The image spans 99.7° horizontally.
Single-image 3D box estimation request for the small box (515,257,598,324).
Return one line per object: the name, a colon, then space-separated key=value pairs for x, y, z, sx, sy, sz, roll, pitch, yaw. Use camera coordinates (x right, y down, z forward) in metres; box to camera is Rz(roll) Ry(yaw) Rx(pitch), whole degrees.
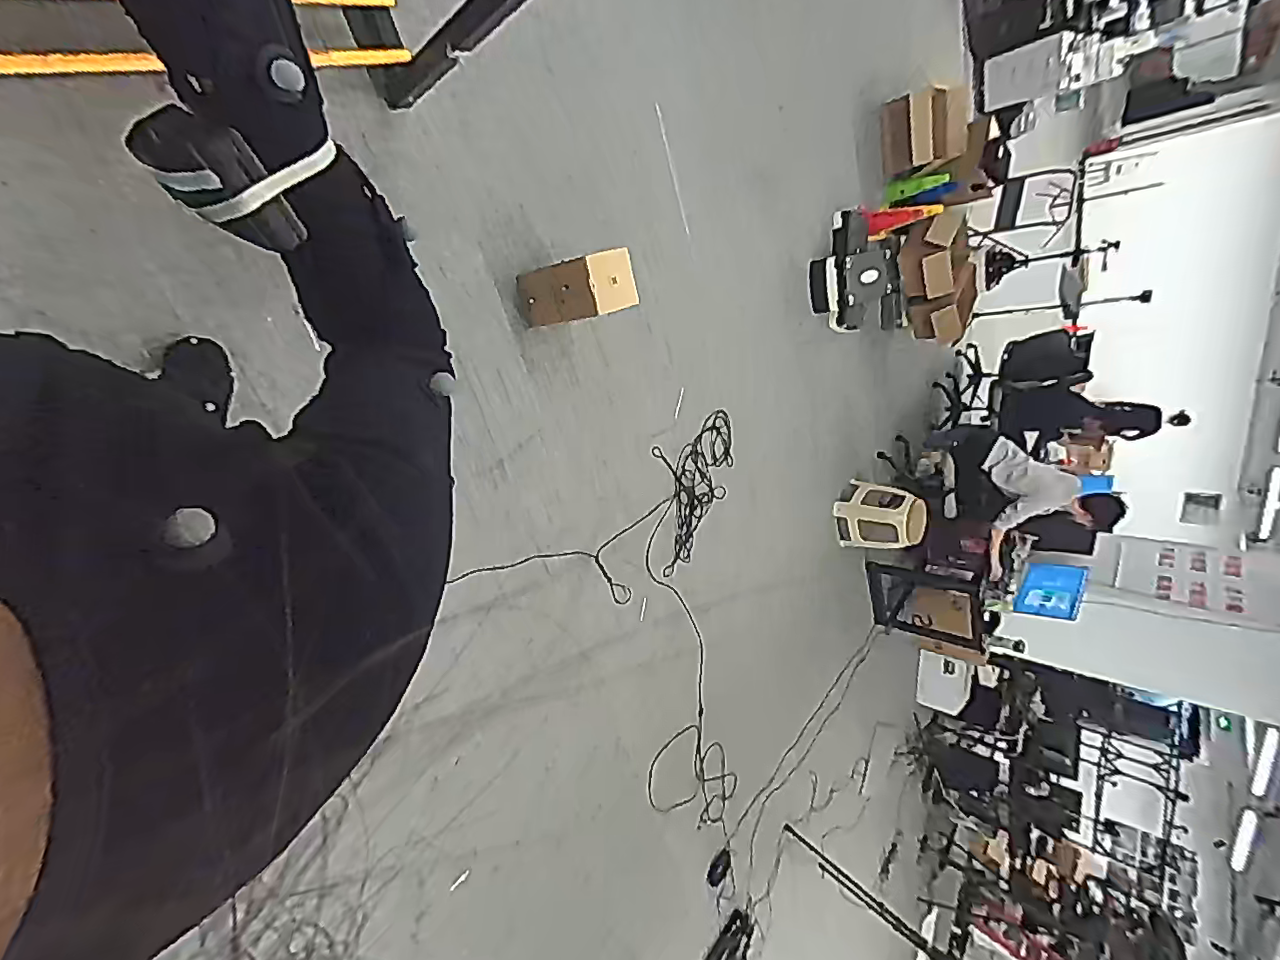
small box: x=-0.266 y=-0.604 z=1.724 sx=0.179 sy=0.176 sz=0.168 roll=-30 pitch=116 yaw=-39
